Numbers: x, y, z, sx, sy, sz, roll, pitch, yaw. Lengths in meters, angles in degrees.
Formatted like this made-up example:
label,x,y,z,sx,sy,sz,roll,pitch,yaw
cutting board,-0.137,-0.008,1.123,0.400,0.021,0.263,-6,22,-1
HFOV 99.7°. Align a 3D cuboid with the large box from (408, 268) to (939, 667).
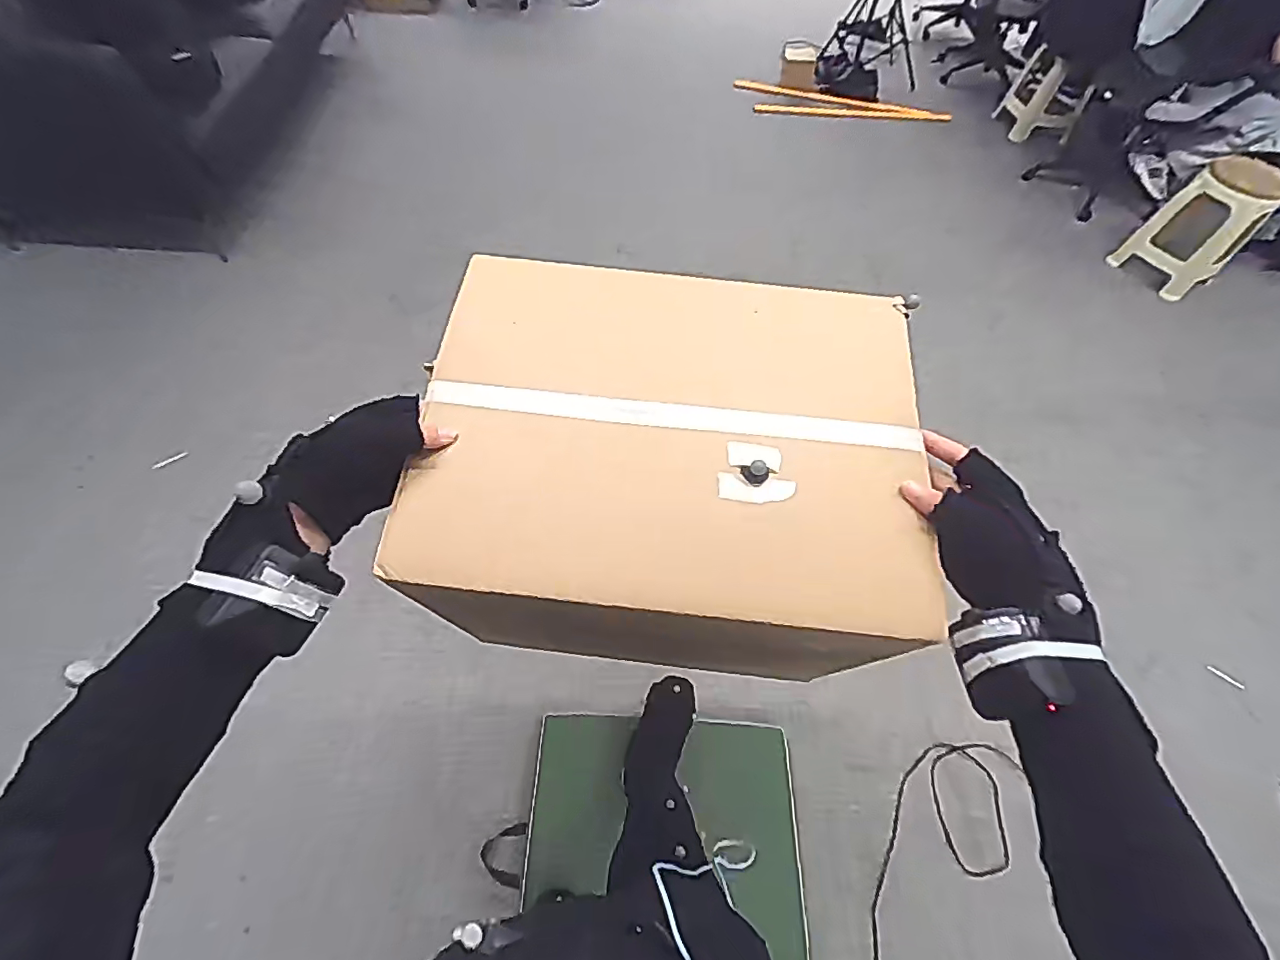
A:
label,x,y,z,sx,sy,sz,roll,pitch,yaw
large box,0.029,0.012,0.594,0.408,0.320,0.320,6,65,0
